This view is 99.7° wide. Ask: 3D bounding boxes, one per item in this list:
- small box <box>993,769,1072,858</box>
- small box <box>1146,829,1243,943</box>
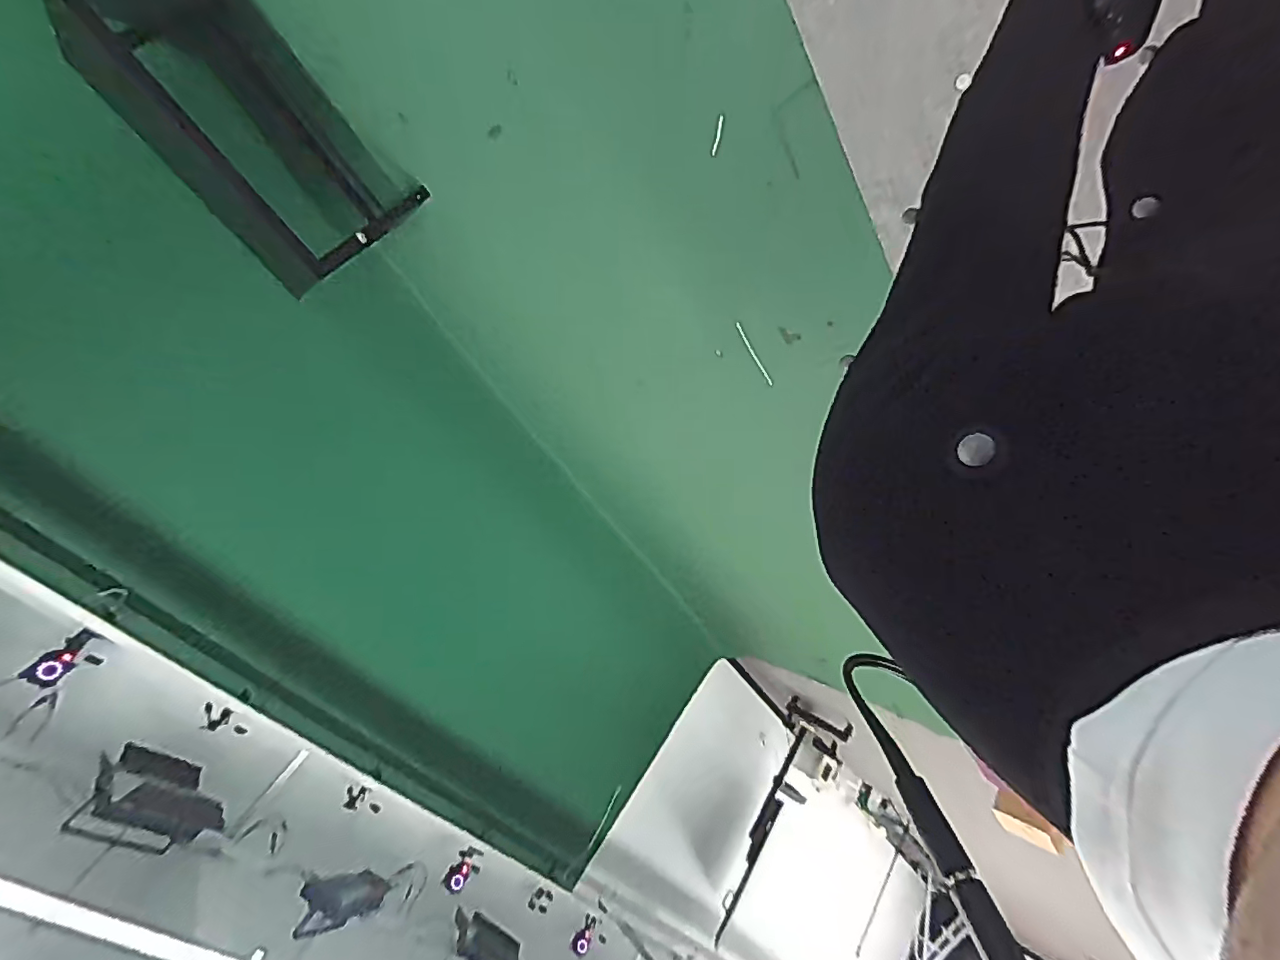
[{"bbox_3d":[1.345,1.132,1.846,0.168,0.176,0.179,3,138,53],"label":"small box"},{"bbox_3d":[1.574,1.142,1.532,0.168,0.176,0.179,1,135,54],"label":"small box"}]
